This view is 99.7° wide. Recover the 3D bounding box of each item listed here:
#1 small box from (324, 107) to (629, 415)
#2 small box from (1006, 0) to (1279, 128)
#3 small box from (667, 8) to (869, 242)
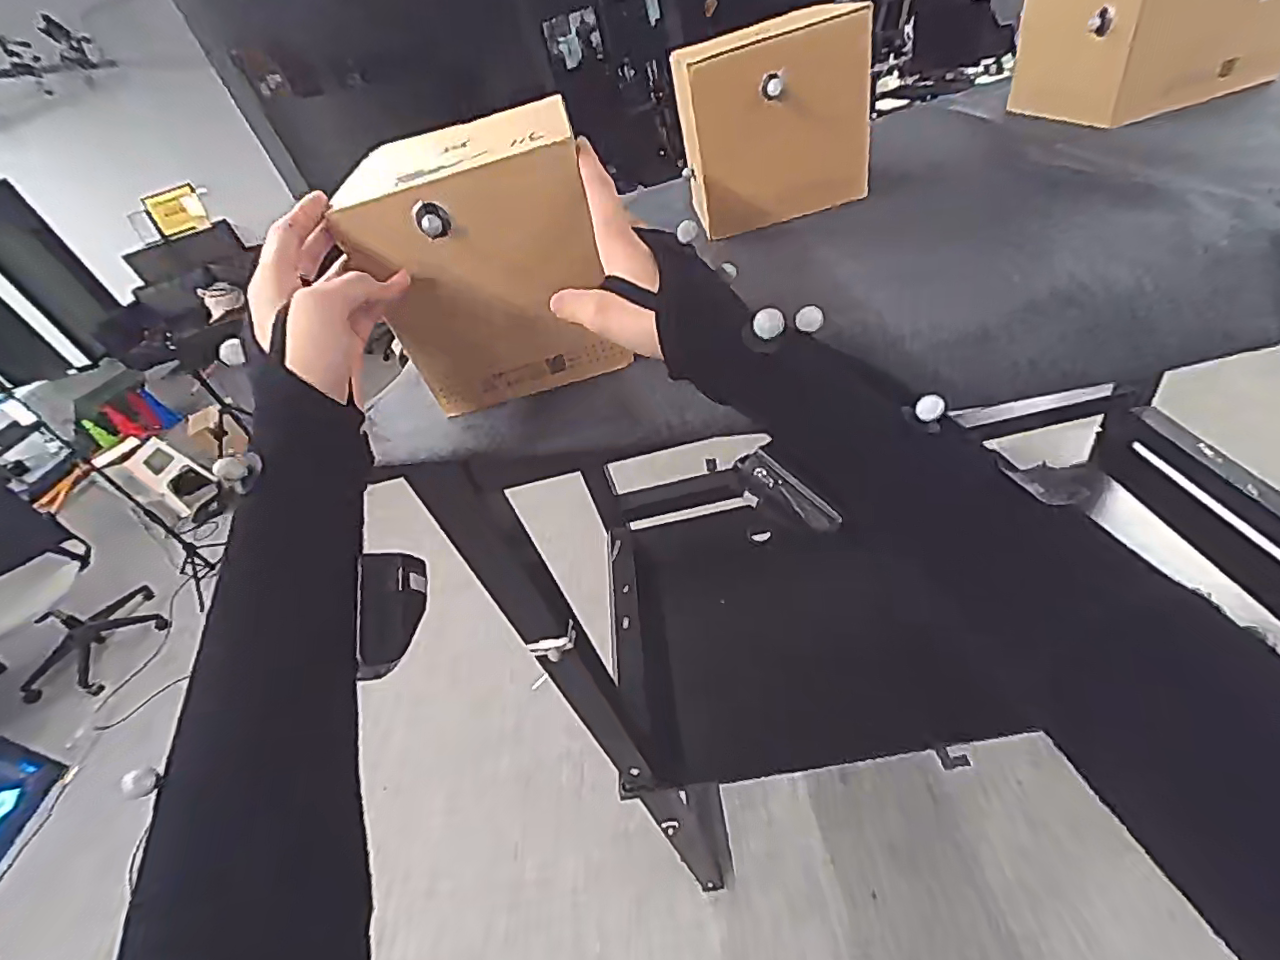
[{"bbox_3d":[-0.114,-0.181,0.451,0.168,0.176,0.179,-15,42,4],"label":"small box"},{"bbox_3d":[0.525,-0.490,0.562,0.168,0.176,0.179,-14,40,4],"label":"small box"},{"bbox_3d":[0.138,-0.395,0.607,0.179,0.176,0.168,-13,40,7],"label":"small box"}]
